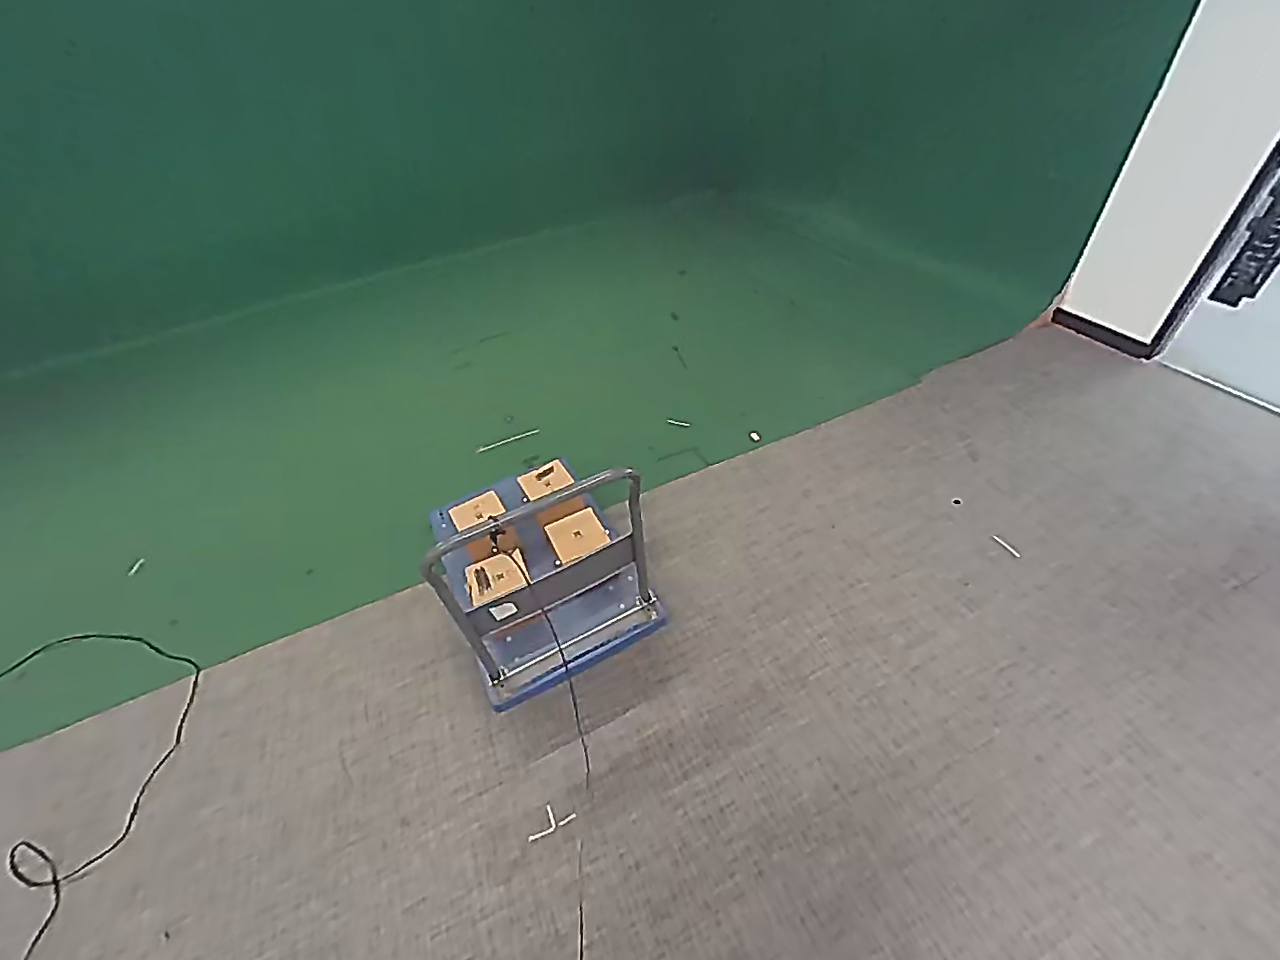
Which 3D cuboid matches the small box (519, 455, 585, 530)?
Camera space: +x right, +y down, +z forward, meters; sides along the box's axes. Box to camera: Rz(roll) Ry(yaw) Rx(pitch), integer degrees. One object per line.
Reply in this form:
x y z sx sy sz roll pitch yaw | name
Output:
-0.313 0.049 1.937 0.168 0.176 0.179 -27 50 -17 | small box

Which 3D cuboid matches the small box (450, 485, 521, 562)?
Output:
-0.527 0.157 1.860 0.168 0.176 0.179 -26 48 -18 | small box

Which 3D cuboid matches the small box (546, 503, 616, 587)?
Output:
-0.190 0.214 1.762 0.168 0.176 0.179 -22 48 -15 | small box
